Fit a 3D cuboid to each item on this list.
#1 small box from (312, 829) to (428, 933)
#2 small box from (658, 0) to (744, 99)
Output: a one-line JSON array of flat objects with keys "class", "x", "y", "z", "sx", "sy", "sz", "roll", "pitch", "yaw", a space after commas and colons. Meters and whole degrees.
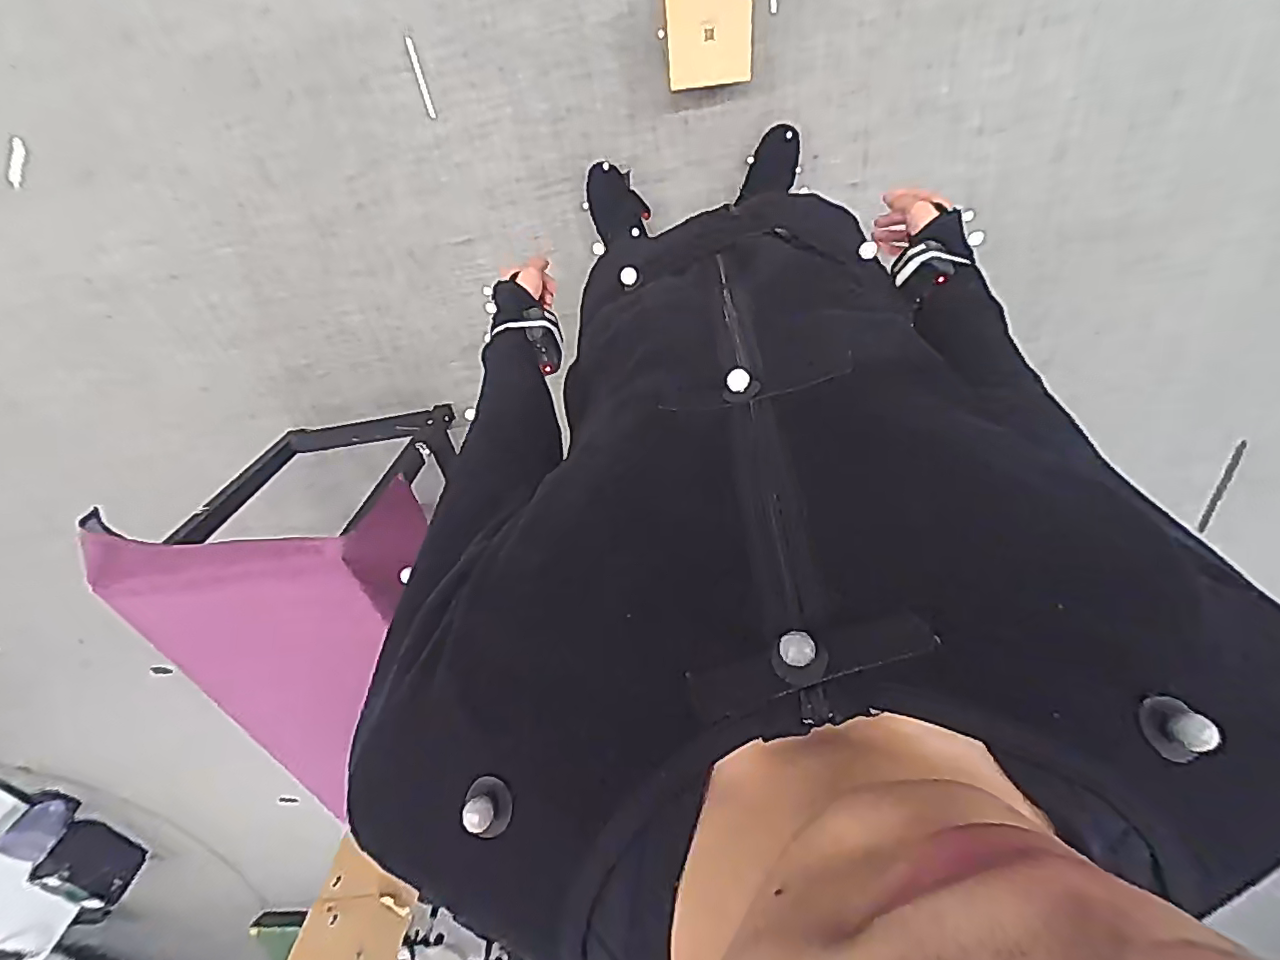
[{"class": "small box", "x": -0.690, "y": 1.038, "z": 1.403, "sx": 0.179, "sy": 0.176, "sz": 0.168, "roll": -18, "pitch": 123, "yaw": 13}, {"class": "small box", "x": 0.126, "y": -0.913, "z": 1.131, "sx": 0.168, "sy": 0.176, "sz": 0.179, "roll": -4, "pitch": 124, "yaw": 4}]
